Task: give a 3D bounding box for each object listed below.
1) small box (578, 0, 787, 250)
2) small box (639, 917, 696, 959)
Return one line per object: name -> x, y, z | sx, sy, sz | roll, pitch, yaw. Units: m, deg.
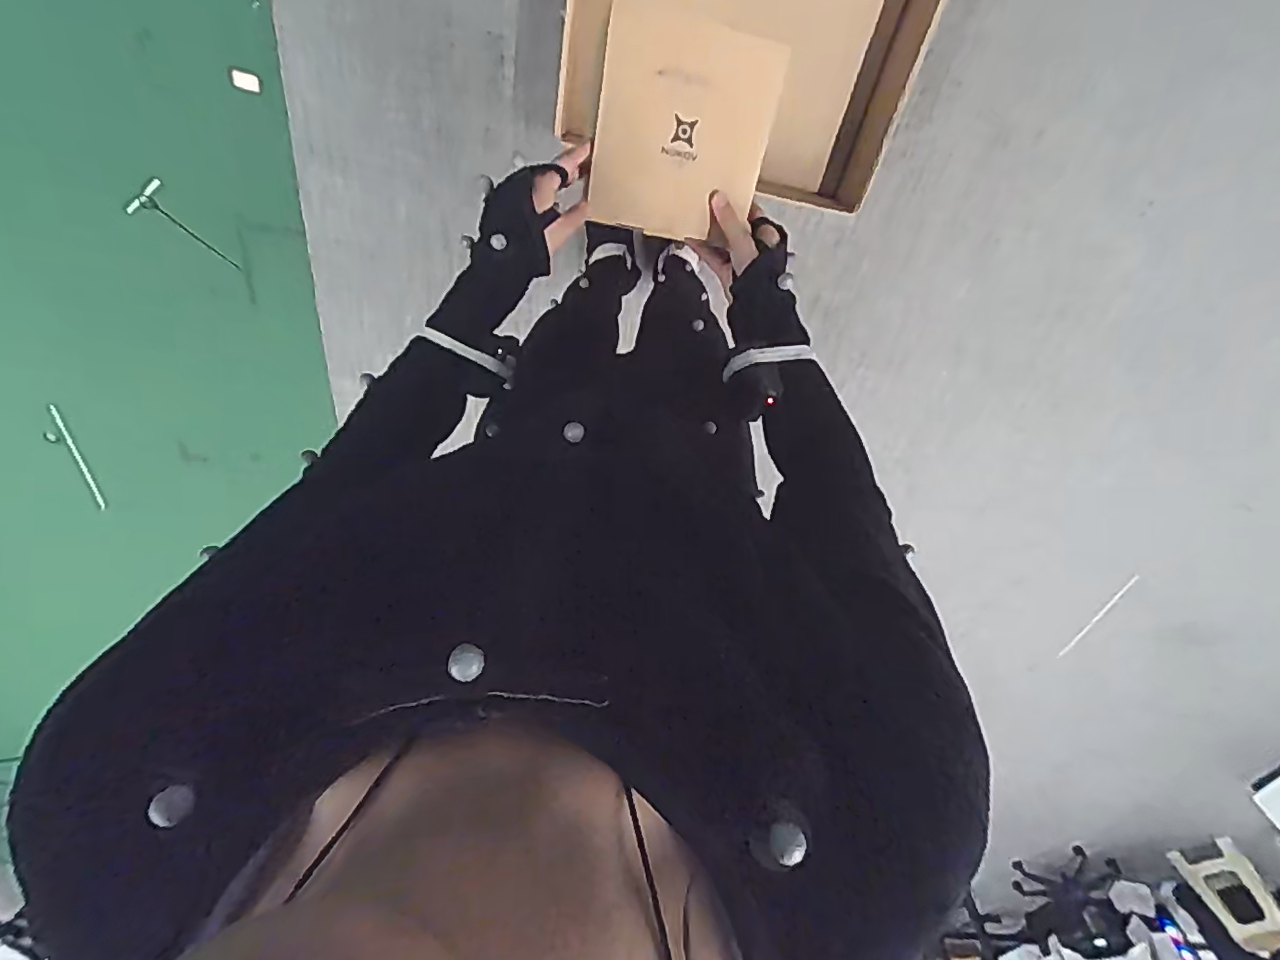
small box -> 0.027, -0.362, 0.573 | 0.168, 0.176, 0.179 | 6, 118, -12
small box -> 0.097, 1.654, 1.884 | 0.179, 0.176, 0.168 | 8, 126, -5
